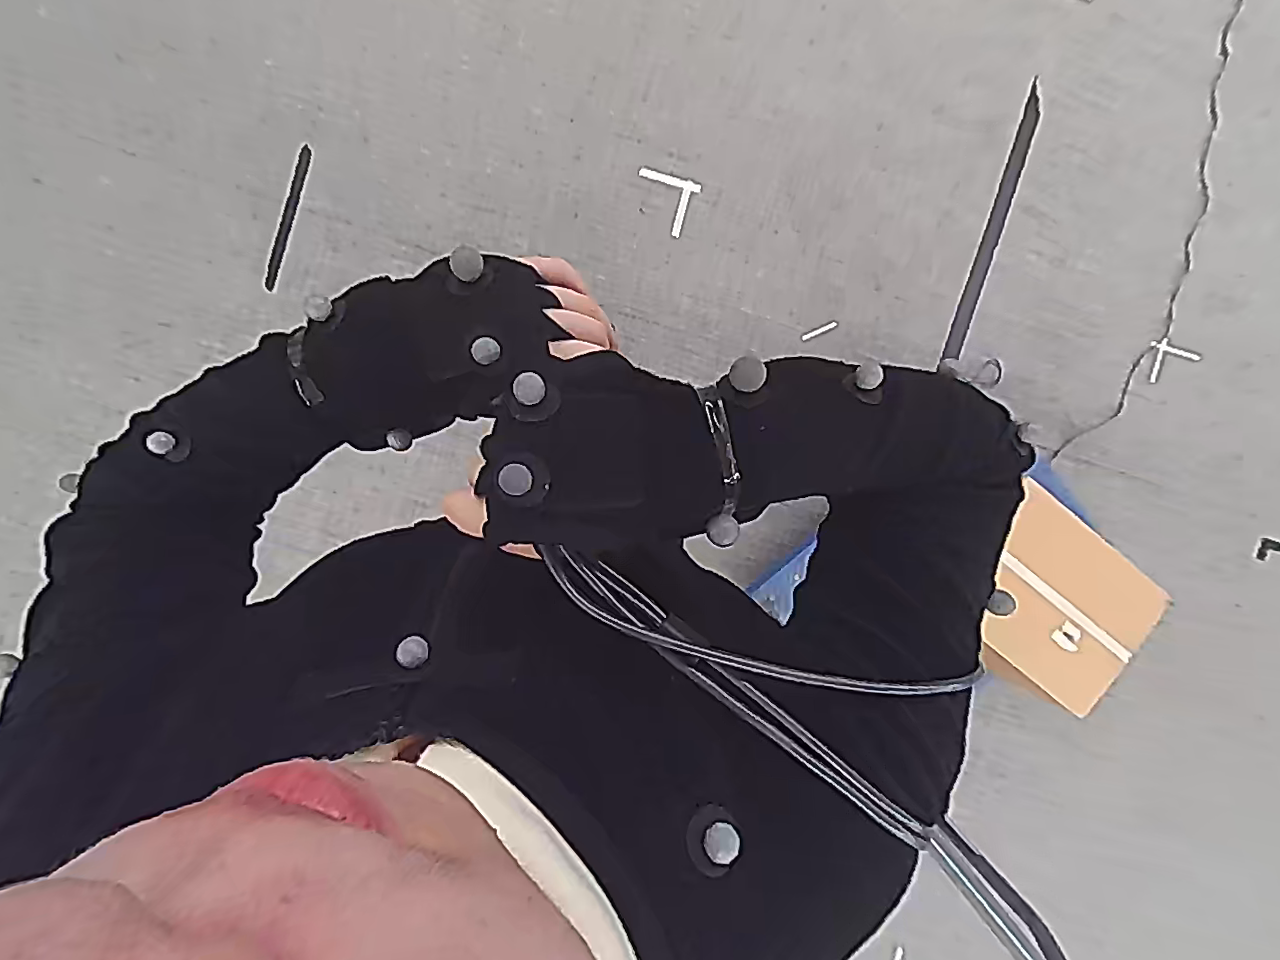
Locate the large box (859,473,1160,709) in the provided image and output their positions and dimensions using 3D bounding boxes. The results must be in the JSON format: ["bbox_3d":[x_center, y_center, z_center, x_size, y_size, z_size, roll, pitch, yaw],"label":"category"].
[{"bbox_3d":[0.798,0.221,1.227,0.408,0.320,0.320,39,89,-4],"label":"large box"}]
